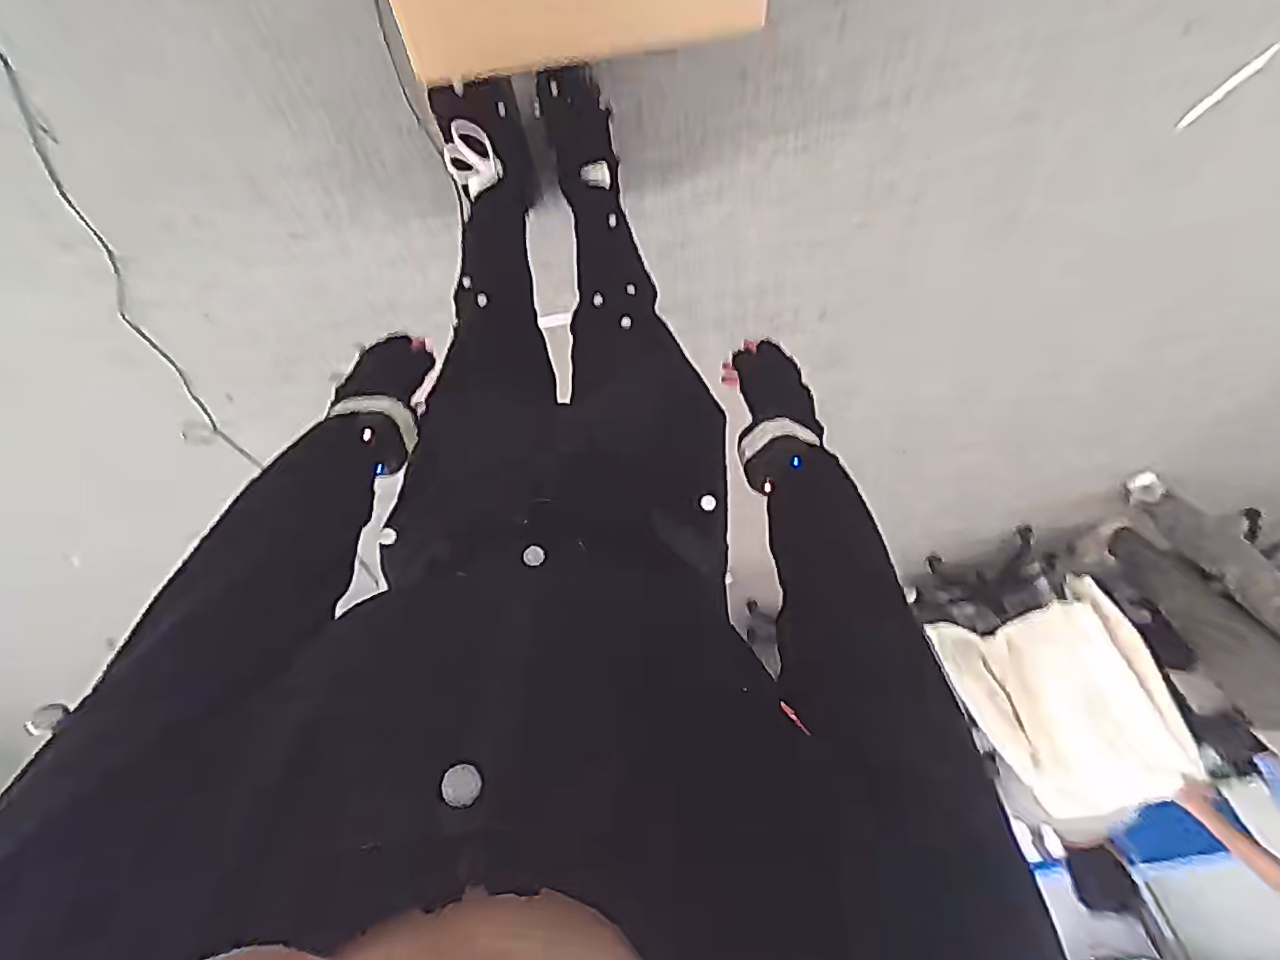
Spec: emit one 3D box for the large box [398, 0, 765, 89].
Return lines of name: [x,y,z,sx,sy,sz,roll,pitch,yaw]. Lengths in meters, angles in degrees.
large box: [-0.089,-0.698,0.604,0.408,0.320,0.320,-9,142,1]
